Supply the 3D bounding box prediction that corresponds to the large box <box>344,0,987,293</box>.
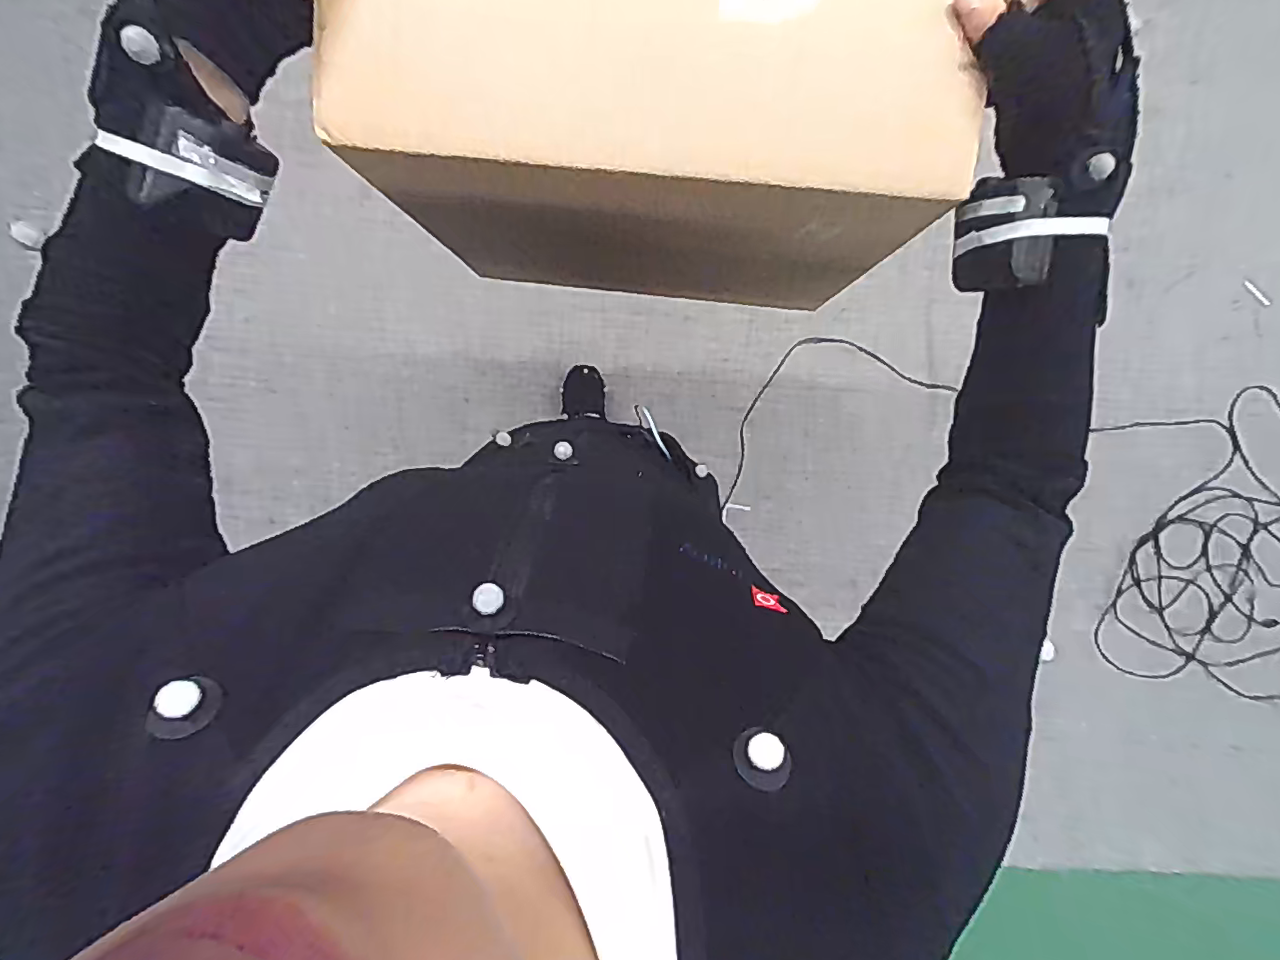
[{"bbox_3d":[0.022,-0.370,0.476,0.408,0.320,0.320,6,97,1],"label":"large box"}]
